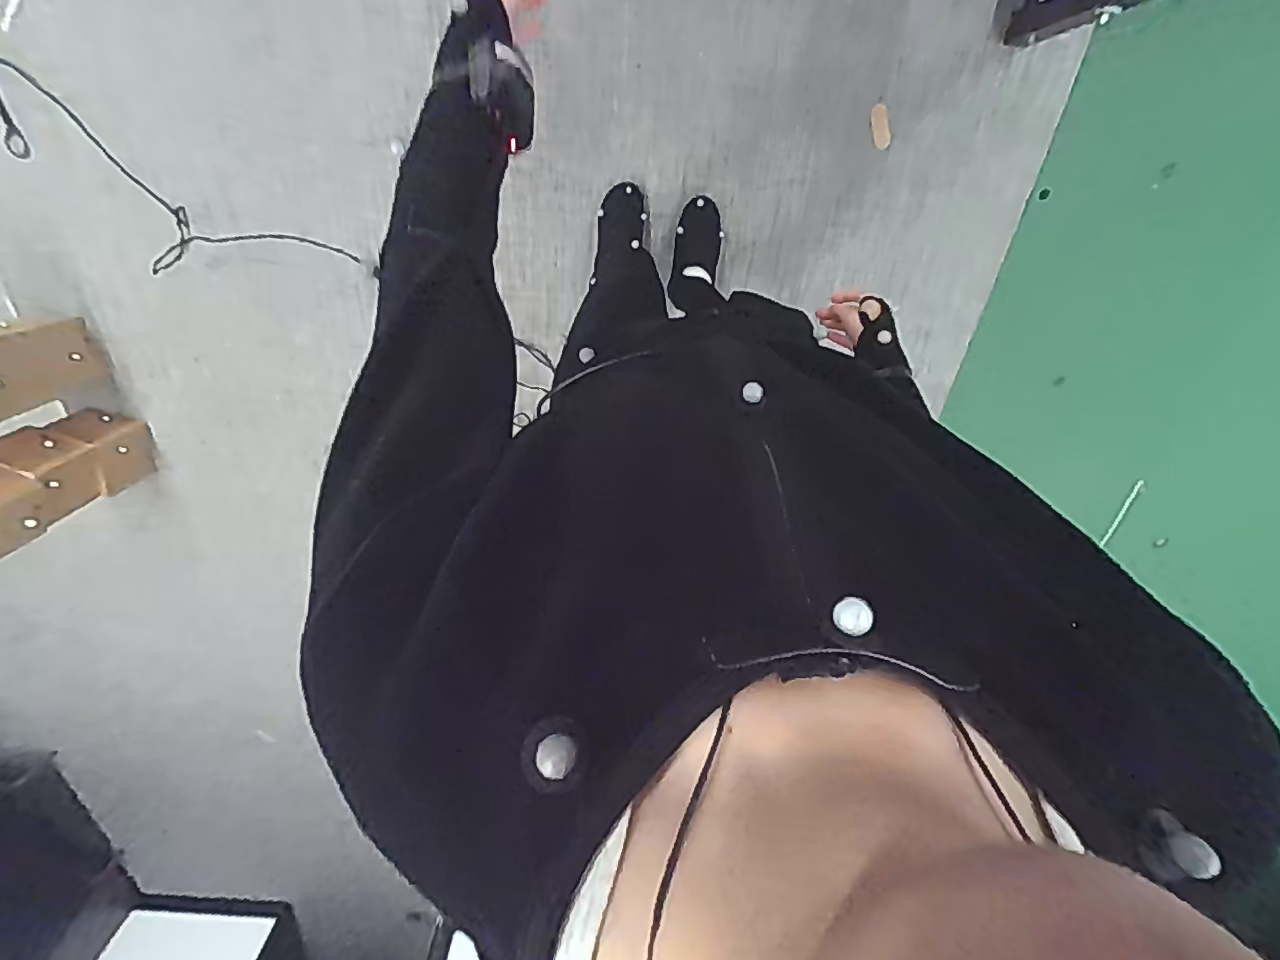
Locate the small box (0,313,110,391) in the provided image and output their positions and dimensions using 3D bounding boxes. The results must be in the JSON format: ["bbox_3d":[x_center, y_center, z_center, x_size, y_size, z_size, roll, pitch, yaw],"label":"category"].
[{"bbox_3d":[-1.549,-0.333,1.403,0.179,0.176,0.168,-1,120,3],"label":"small box"}]

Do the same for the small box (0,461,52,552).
[{"bbox_3d":[-1.543,0.064,1.257,0.179,0.176,0.168,25,117,-12],"label":"small box"}]

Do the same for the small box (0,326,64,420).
[{"bbox_3d":[-1.540,-0.246,1.266,0.168,0.176,0.179,-5,120,4],"label":"small box"}]

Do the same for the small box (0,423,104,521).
[{"bbox_3d":[-1.547,-0.020,1.398,0.168,0.176,0.179,21,117,-9],"label":"small box"}]
